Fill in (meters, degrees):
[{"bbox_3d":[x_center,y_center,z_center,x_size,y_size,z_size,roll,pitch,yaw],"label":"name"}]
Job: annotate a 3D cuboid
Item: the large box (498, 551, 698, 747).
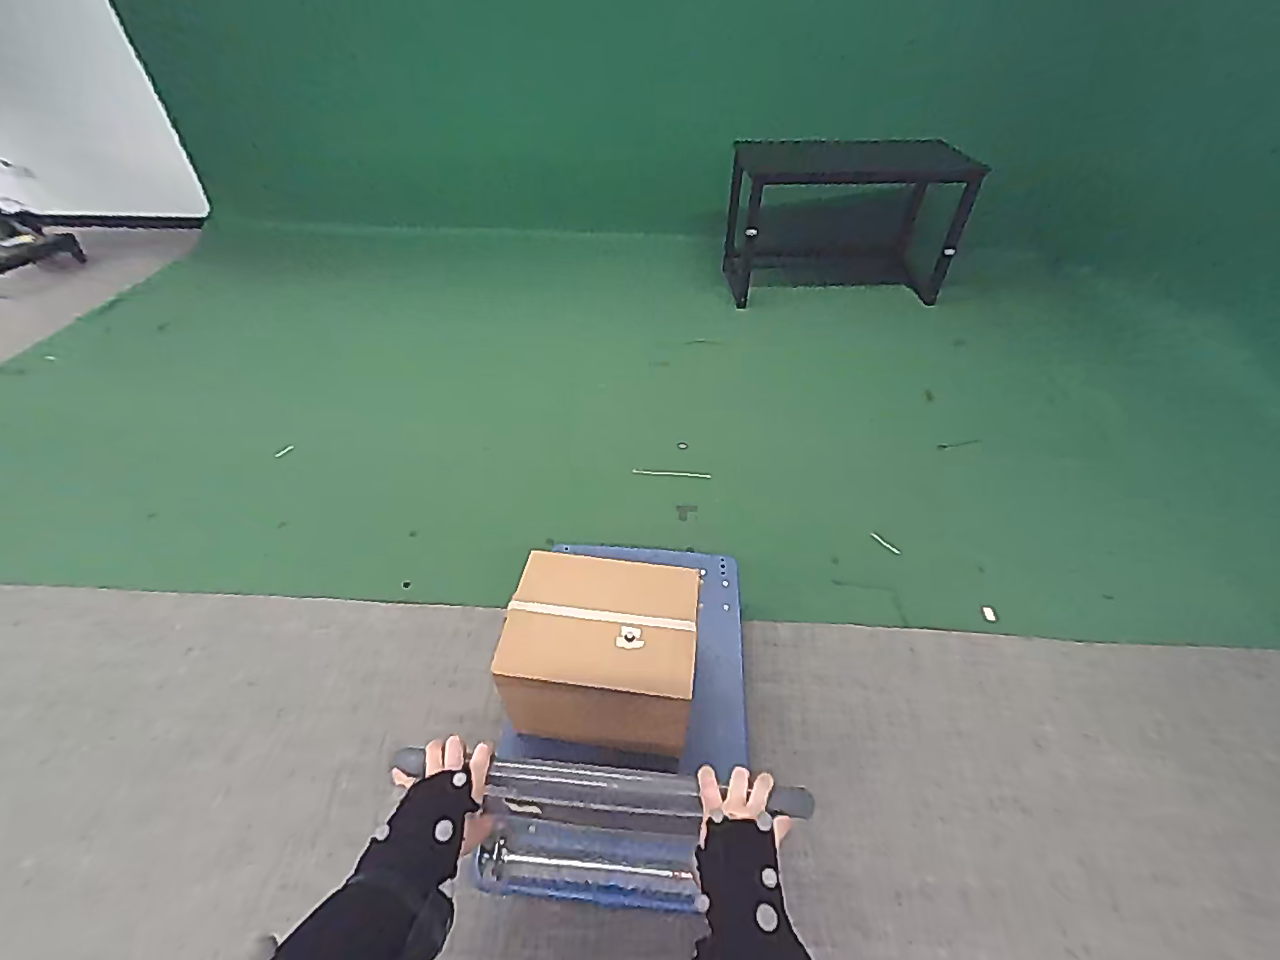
[{"bbox_3d":[-0.083,0.402,1.289,0.408,0.320,0.320,6,45,4],"label":"large box"}]
